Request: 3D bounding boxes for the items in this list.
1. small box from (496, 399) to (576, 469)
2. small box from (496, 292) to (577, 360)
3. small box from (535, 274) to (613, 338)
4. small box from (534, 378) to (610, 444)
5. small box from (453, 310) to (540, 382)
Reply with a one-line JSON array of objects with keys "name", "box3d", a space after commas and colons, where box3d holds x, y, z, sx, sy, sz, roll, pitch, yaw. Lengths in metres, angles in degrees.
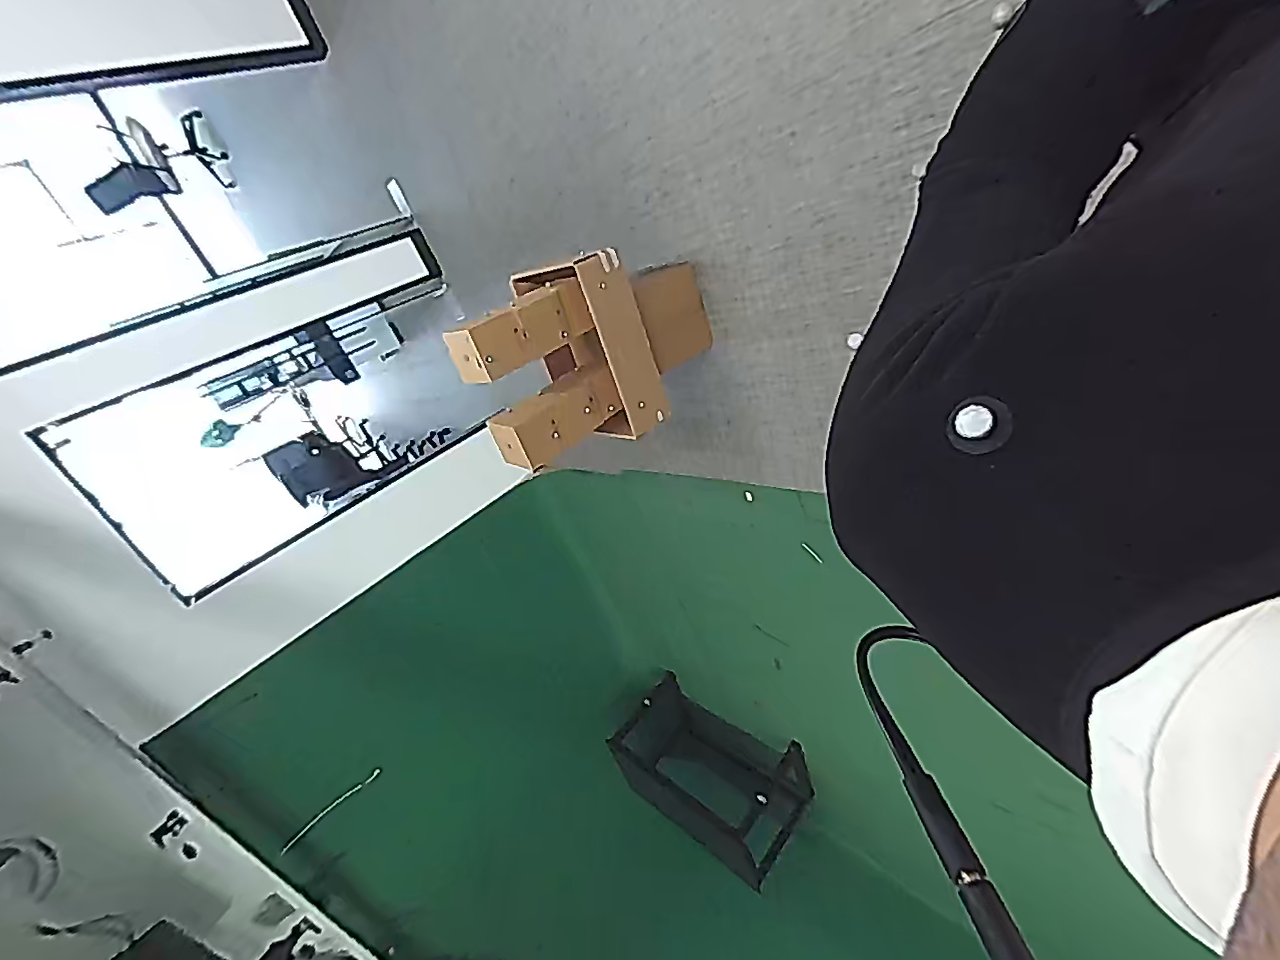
[{"name": "small box", "box3d": [-0.345, -0.161, 1.814, 0.179, 0.176, 0.168, 15, 134, 45]}, {"name": "small box", "box3d": [-0.327, -0.502, 1.758, 0.179, 0.176, 0.168, 14, 132, 45]}, {"name": "small box", "box3d": [-0.222, -0.592, 1.848, 0.179, 0.176, 0.168, 12, 131, 45]}, {"name": "small box", "box3d": [-0.236, -0.247, 1.899, 0.179, 0.176, 0.168, 15, 134, 45]}, {"name": "small box", "box3d": [-0.440, -0.416, 1.677, 0.179, 0.176, 0.168, 11, 130, 47]}]
